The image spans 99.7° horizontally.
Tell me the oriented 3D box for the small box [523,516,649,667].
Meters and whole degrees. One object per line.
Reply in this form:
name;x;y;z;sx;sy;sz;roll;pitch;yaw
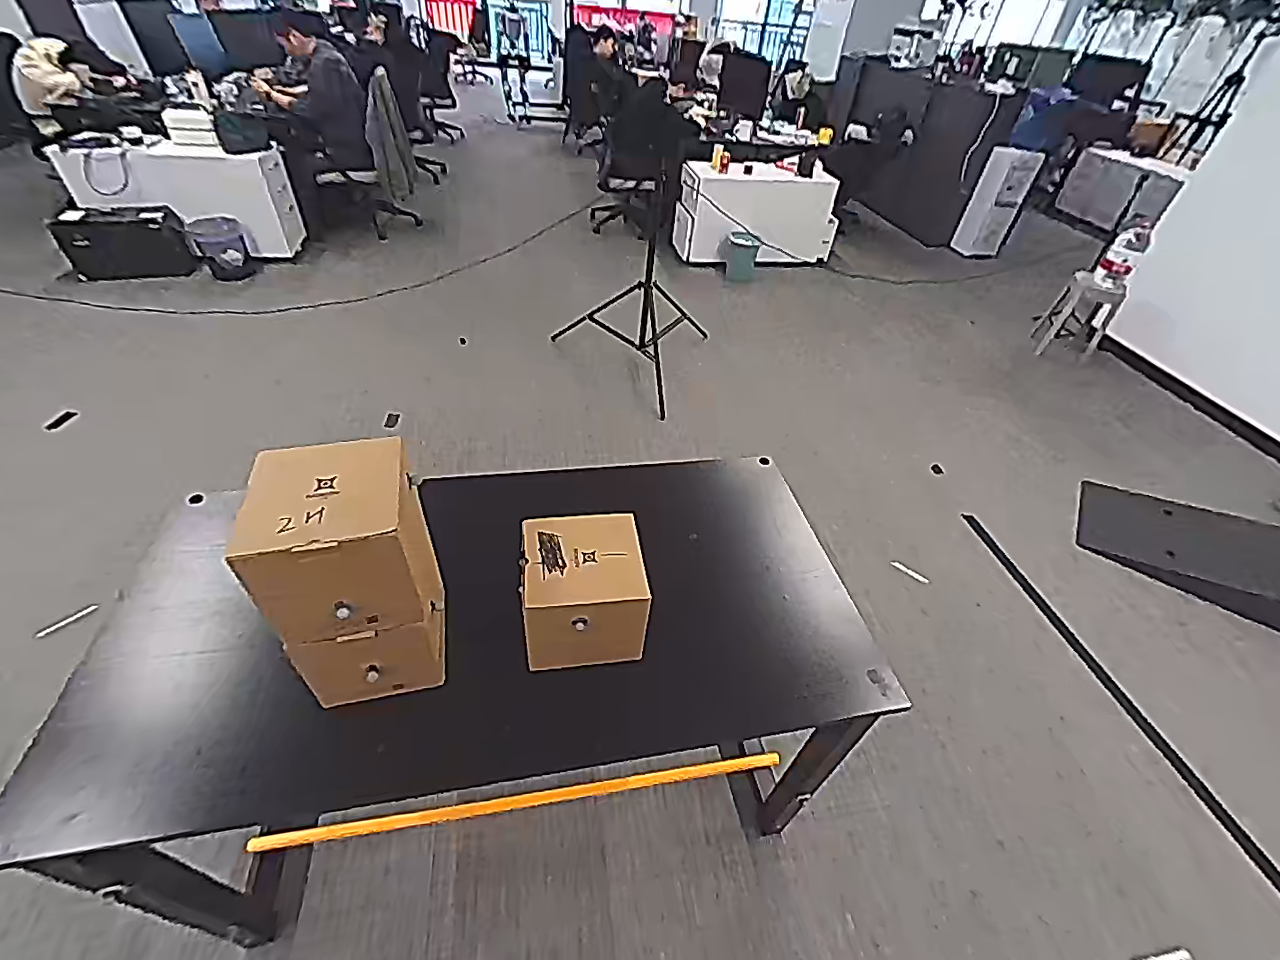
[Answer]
small box;-0.089;0.177;0.851;0.179;0.176;0.168;-3;43;-10

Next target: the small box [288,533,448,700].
small box;-0.382;0.202;0.794;0.168;0.176;0.179;-8;44;-14

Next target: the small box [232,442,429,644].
small box;-0.370;0.076;0.686;0.168;0.176;0.179;-9;44;-15
